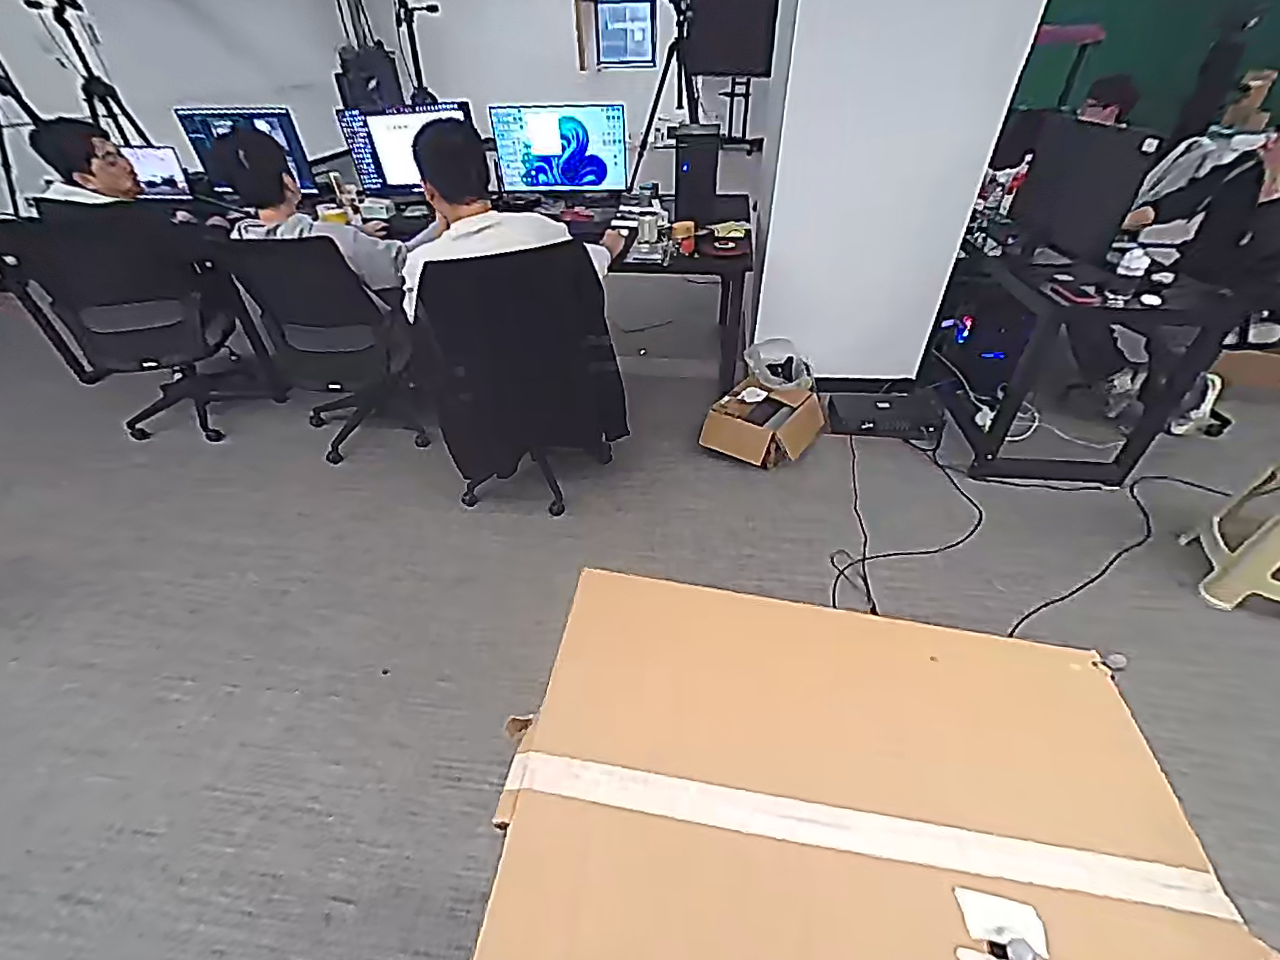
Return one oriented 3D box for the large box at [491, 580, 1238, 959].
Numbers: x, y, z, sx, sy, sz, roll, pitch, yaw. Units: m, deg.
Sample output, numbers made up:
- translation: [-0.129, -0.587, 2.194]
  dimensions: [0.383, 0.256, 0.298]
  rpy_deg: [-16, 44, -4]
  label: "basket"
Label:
- translation: [0.117, 0.319, 0.425]
  dimensions: [0.408, 0.320, 0.320]
  rpy_deg: [10, 44, 3]
  label: "large box"
